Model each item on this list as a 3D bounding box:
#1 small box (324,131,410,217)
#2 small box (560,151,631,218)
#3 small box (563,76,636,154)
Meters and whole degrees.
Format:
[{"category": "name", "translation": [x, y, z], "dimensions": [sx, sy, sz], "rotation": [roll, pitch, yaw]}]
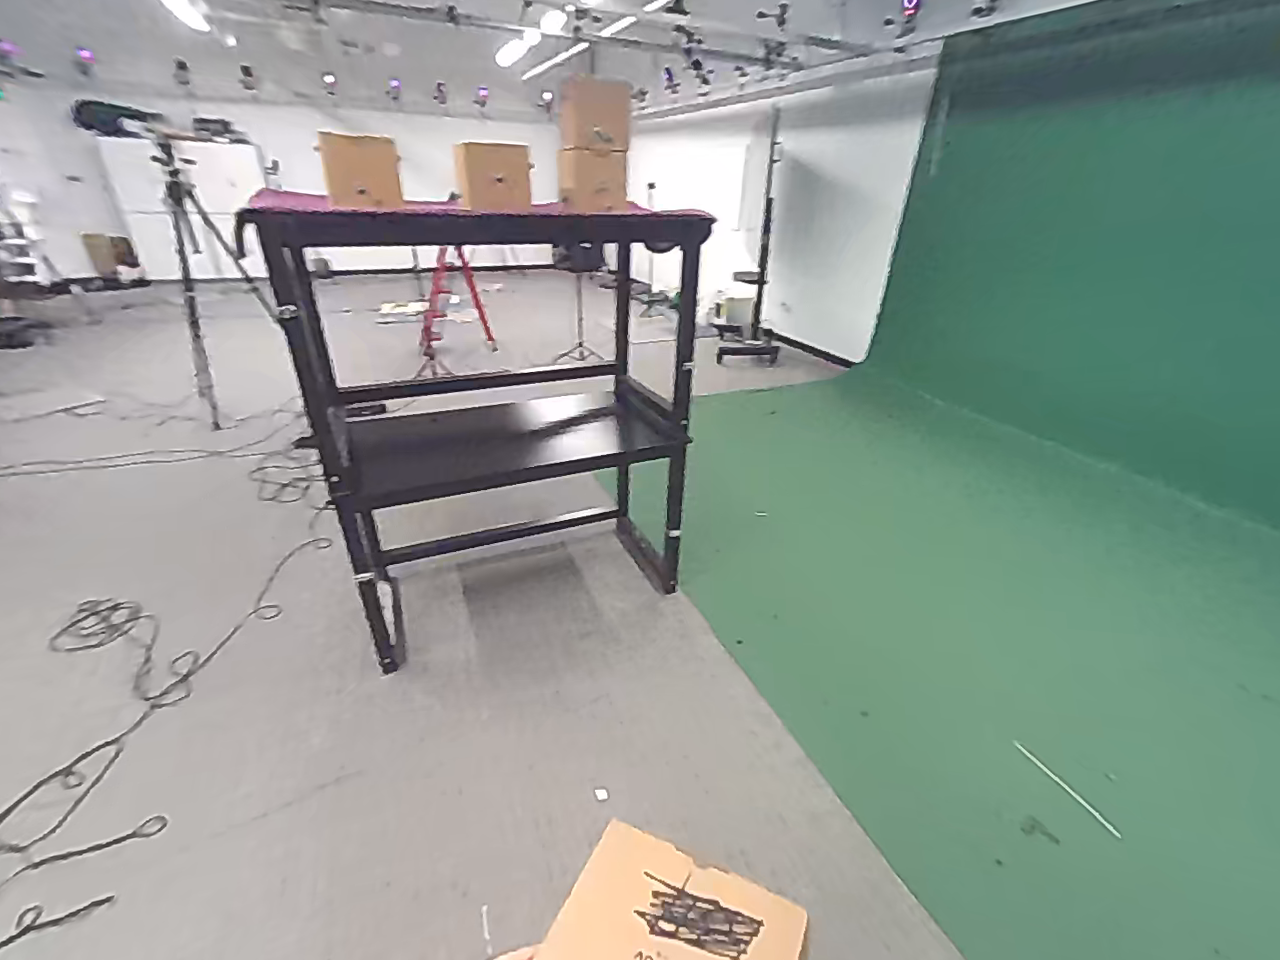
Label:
[{"category": "small box", "translation": [-0.686, -0.762, 1.357], "dimensions": [0.168, 0.176, 0.179], "rotation": [-12, 31, -26]}, {"category": "small box", "translation": [-0.133, -0.877, 1.605], "dimensions": [0.168, 0.176, 0.179], "rotation": [-10, 32, -21]}, {"category": "small box", "translation": [-0.119, -1.020, 1.528], "dimensions": [0.168, 0.176, 0.179], "rotation": [-10, 32, -18]}]
